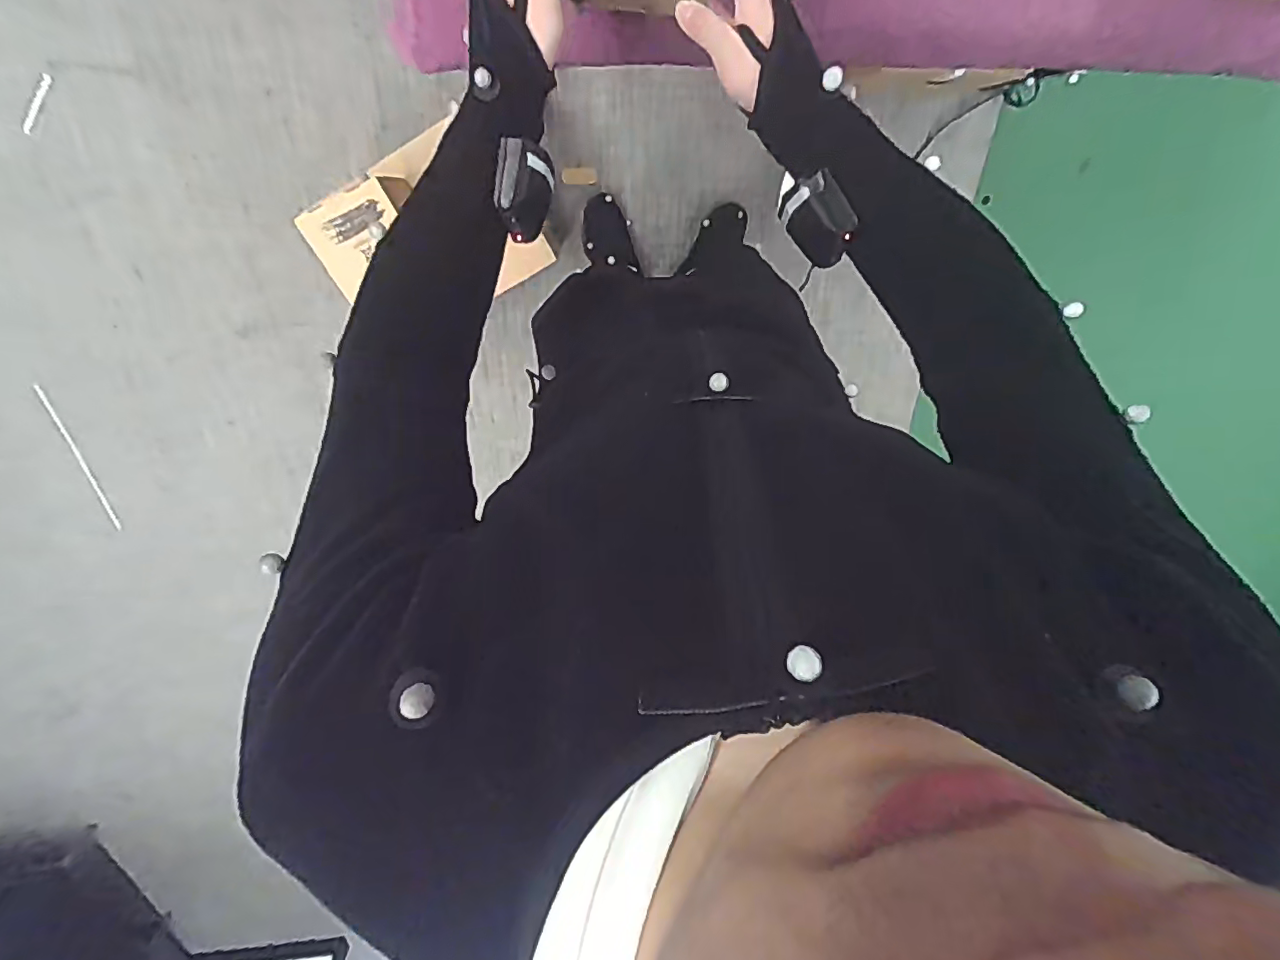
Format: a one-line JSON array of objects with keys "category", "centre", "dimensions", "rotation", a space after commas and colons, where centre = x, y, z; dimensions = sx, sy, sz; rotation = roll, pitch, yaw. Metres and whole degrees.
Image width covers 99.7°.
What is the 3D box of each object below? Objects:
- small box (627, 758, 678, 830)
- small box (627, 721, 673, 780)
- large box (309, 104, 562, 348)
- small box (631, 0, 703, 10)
[{"category": "small box", "centre": [0.044, 1.206, 2.080], "dimensions": [0.168, 0.176, 0.179], "rotation": [8, 117, -7]}, {"category": "small box", "centre": [0.039, 1.125, 2.221], "dimensions": [0.168, 0.176, 0.179], "rotation": [5, 117, -4]}, {"category": "large box", "centre": [-0.429, -0.564, 1.232], "dimensions": [0.408, 0.320, 0.320], "rotation": [-27, 119, 8]}, {"category": "small box", "centre": [-0.001, -0.540, 0.463], "dimensions": [0.168, 0.176, 0.179], "rotation": [1, 118, -7]}]
